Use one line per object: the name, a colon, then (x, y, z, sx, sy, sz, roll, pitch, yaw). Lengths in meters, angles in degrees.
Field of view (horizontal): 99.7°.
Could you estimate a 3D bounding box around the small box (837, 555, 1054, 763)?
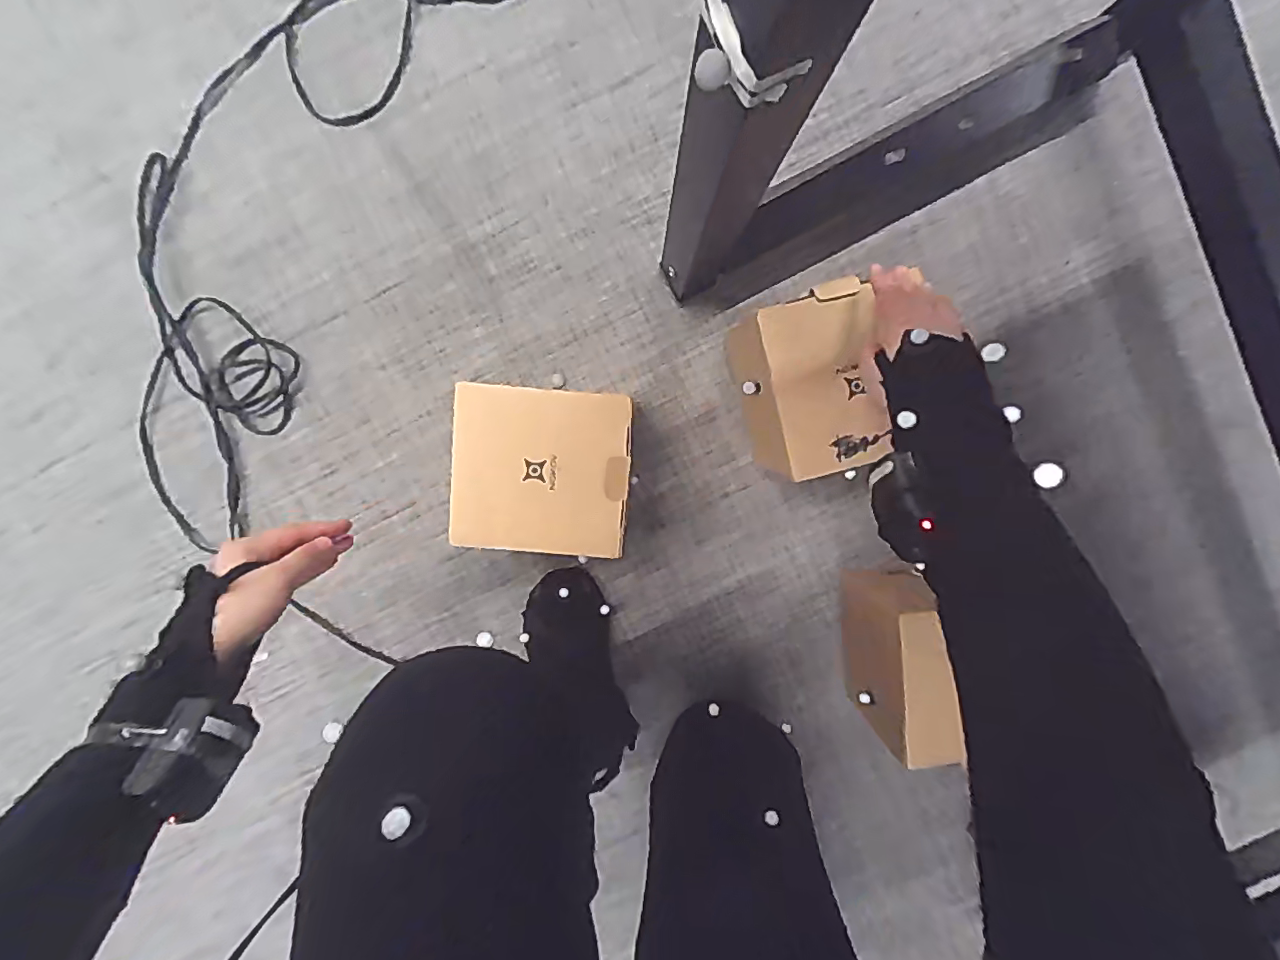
small box: (0.348, 0.200, 0.643, 0.168, 0.176, 0.179, -6, 96, -1)
